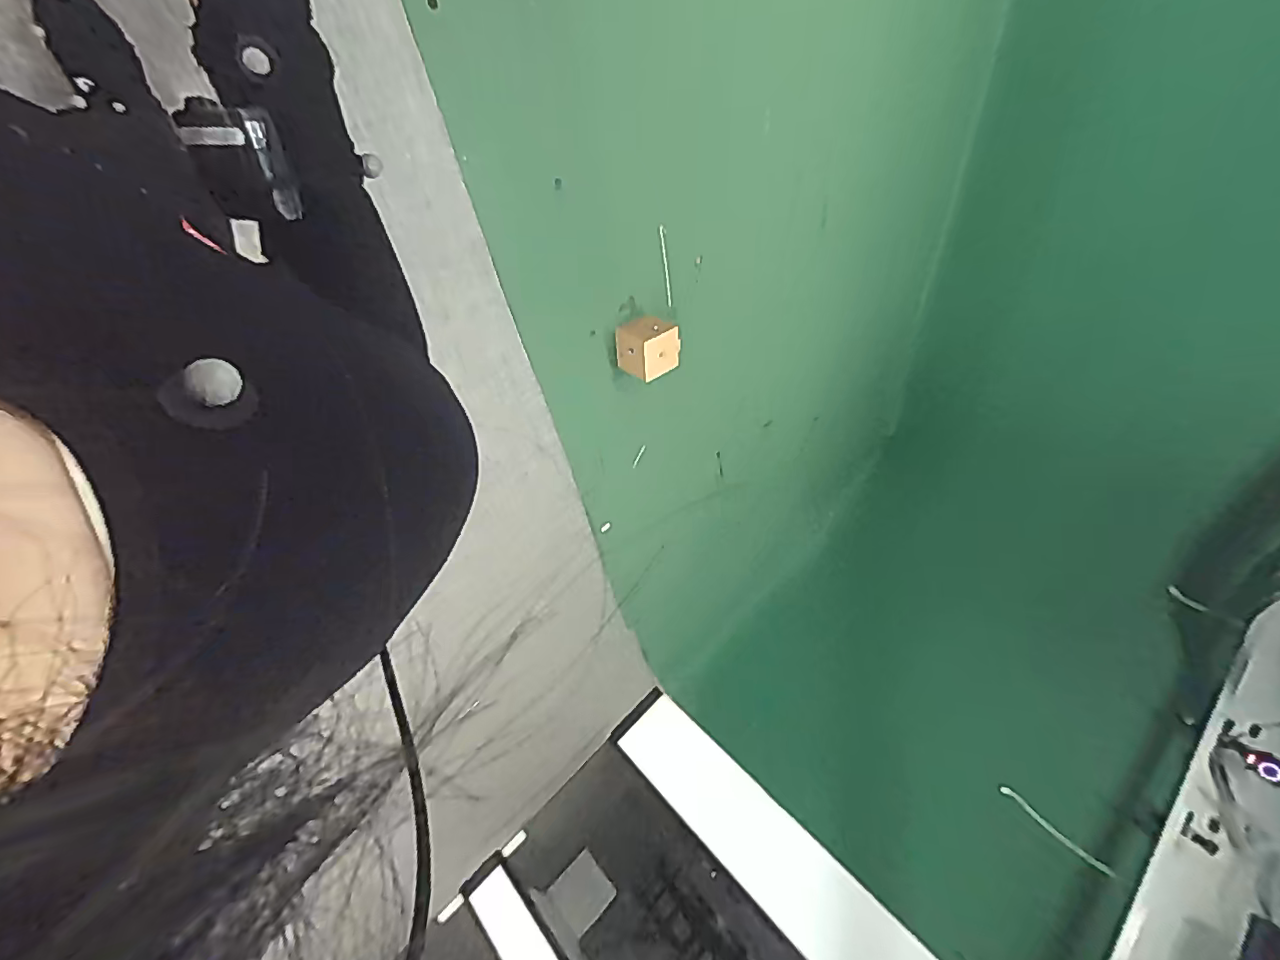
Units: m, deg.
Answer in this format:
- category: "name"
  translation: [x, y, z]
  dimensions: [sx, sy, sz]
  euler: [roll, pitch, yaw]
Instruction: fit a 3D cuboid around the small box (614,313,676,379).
- category: "small box"
  translation: [0.016, -0.512, 2.050]
  dimensions: [0.179, 0.176, 0.168]
  euler: [-34, 140, -29]
